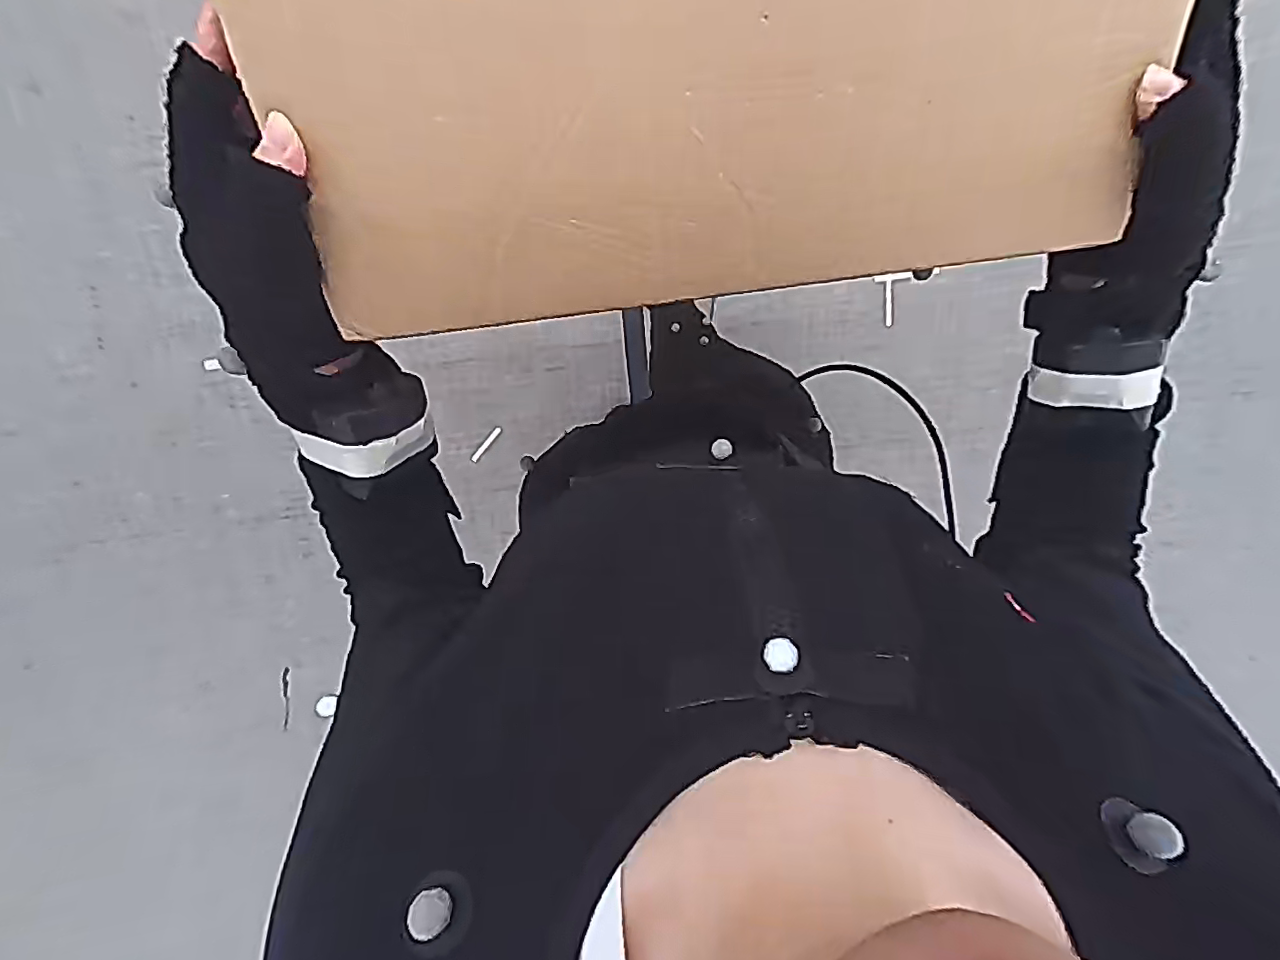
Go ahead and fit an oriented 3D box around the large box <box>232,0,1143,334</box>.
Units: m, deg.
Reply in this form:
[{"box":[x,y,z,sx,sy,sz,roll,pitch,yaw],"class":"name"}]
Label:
[{"box":[0.016,-0.310,0.347,0.408,0.320,0.320,-8,118,0],"class":"large box"}]
